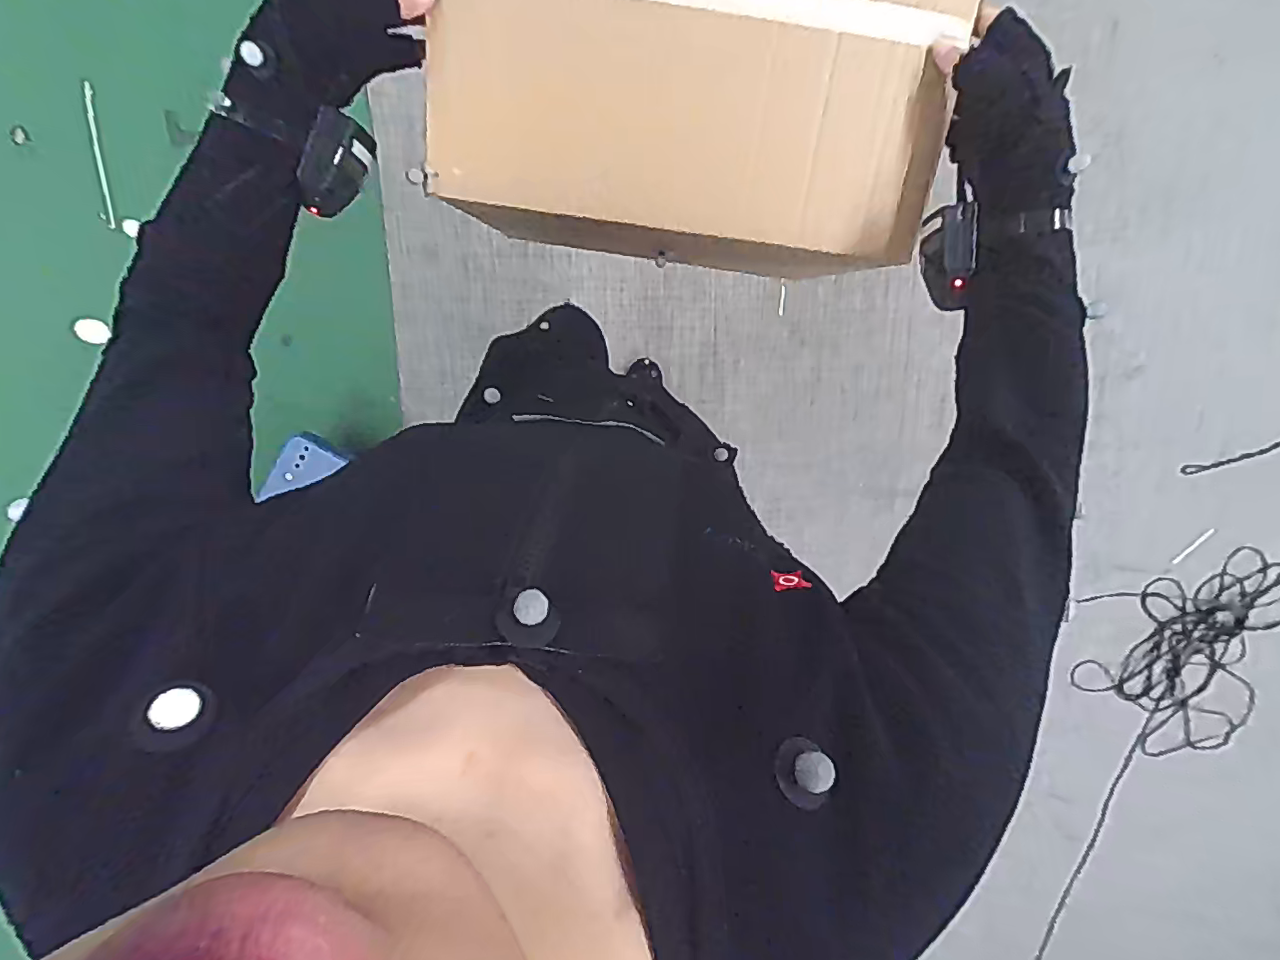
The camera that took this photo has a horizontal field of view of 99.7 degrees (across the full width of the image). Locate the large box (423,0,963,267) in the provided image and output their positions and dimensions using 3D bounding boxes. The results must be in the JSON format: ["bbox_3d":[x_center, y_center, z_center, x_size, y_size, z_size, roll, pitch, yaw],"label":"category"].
[{"bbox_3d":[0.039,-0.401,0.541,0.408,0.320,0.320,6,107,-3],"label":"large box"}]
